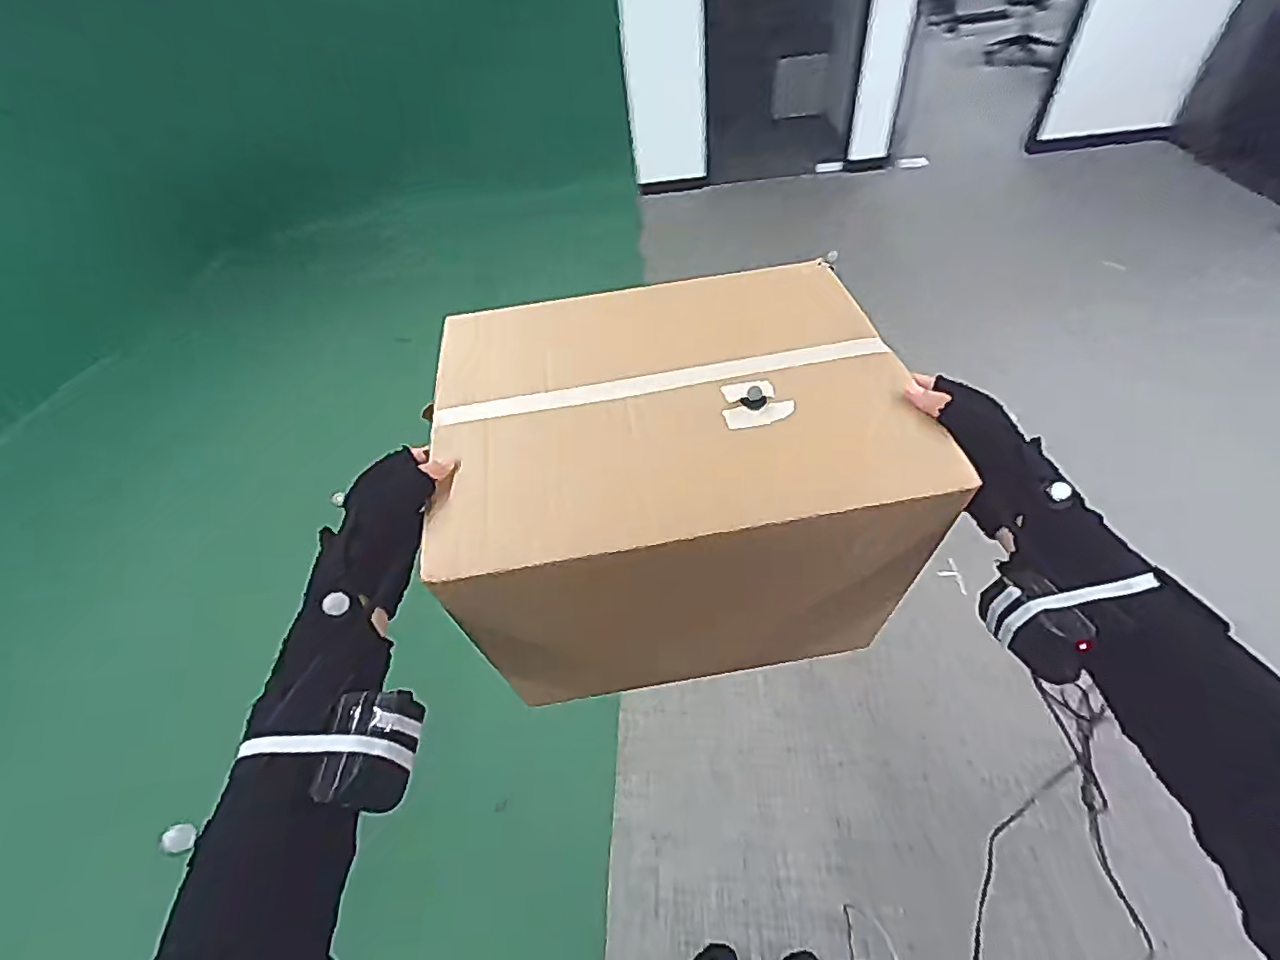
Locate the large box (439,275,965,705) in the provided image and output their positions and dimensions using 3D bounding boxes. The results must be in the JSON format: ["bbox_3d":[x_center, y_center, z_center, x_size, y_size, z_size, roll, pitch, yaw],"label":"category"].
[{"bbox_3d":[0.036,0.017,0.600,0.408,0.320,0.320,-9,52,-2],"label":"large box"}]
